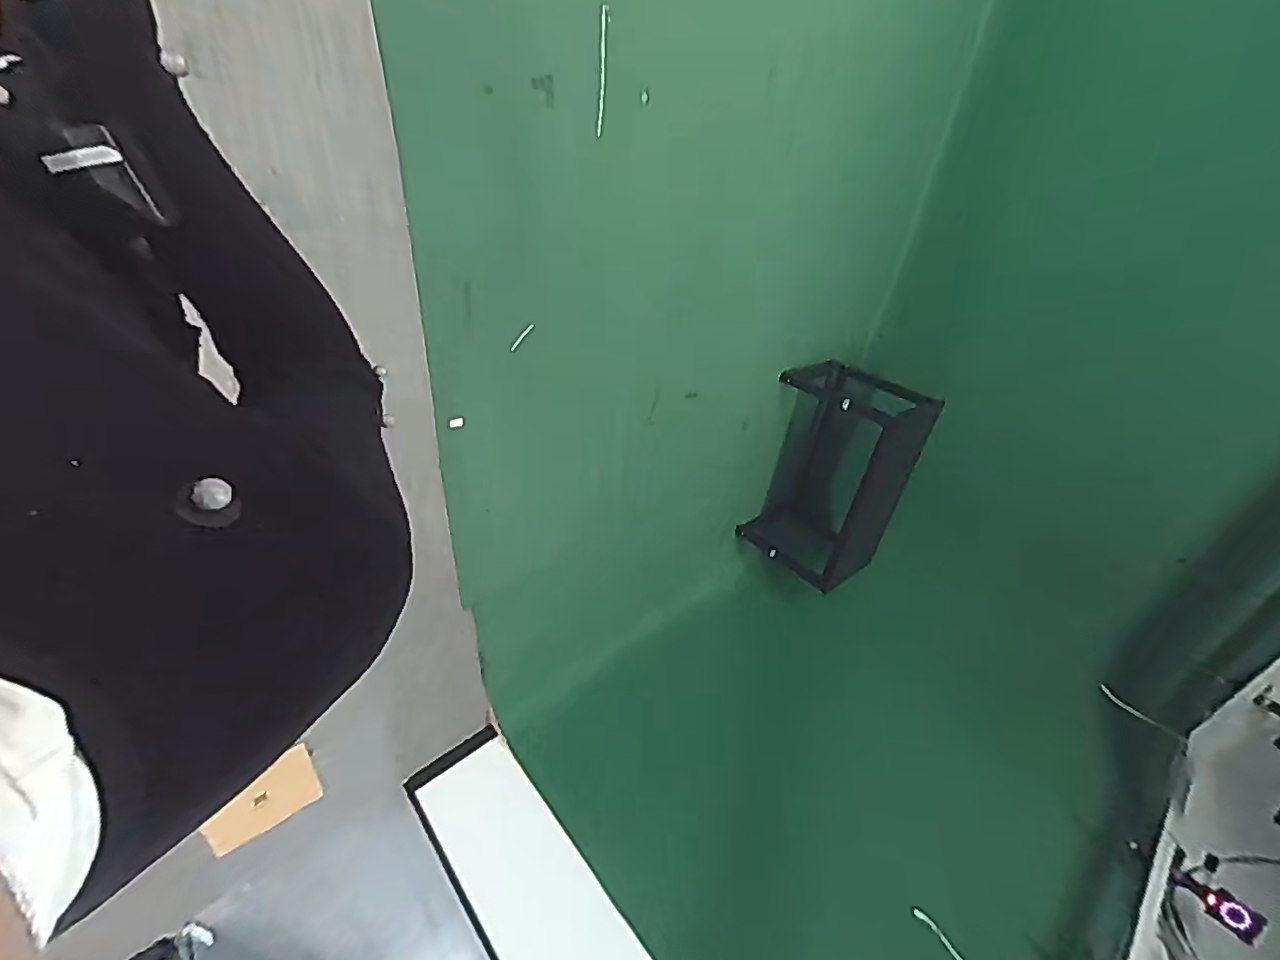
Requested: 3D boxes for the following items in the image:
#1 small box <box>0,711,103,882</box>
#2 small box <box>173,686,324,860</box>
[{"bbox_3d":[-1.012,0.504,0.867,0.168,0.176,0.179,-22,132,-36],"label":"small box"},{"bbox_3d":[-0.686,0.505,0.953,0.168,0.176,0.179,-22,133,-38],"label":"small box"}]
